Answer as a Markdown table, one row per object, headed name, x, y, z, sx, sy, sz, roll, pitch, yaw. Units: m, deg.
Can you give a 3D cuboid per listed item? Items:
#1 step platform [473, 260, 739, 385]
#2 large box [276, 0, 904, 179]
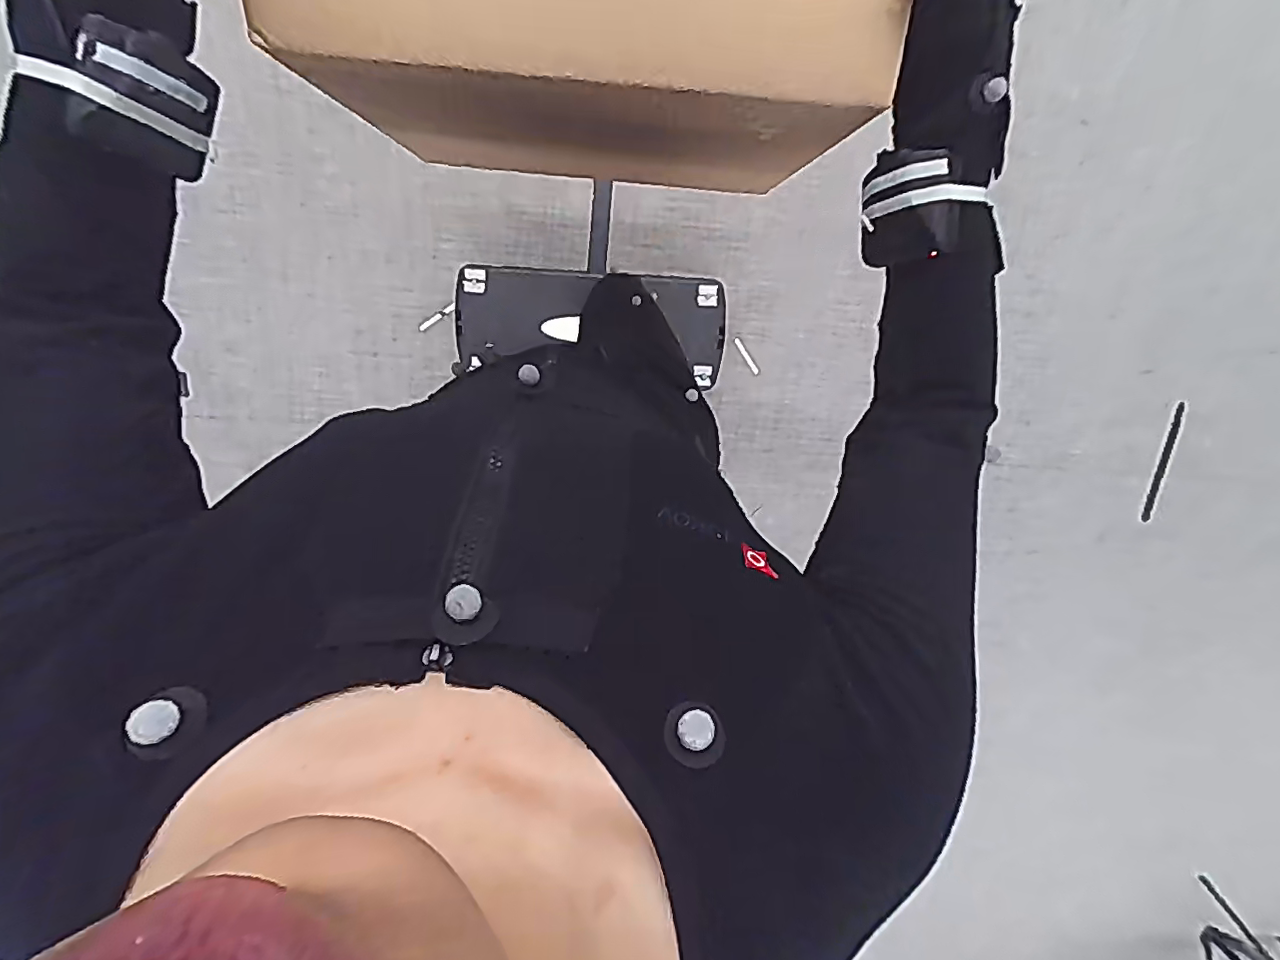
| name | x | y | z | sx | sy | sz | roll | pitch | yaw |
| --- | --- | --- | --- | --- | --- | --- | --- | --- | --- |
| step platform | -0.085 | -0.409 | 1.428 | 0.684 | 0.204 | 0.286 | 1 | 106 | -5 |
| large box | -0.030 | -0.461 | 0.445 | 0.408 | 0.320 | 0.320 | 3 | 109 | -4 |
